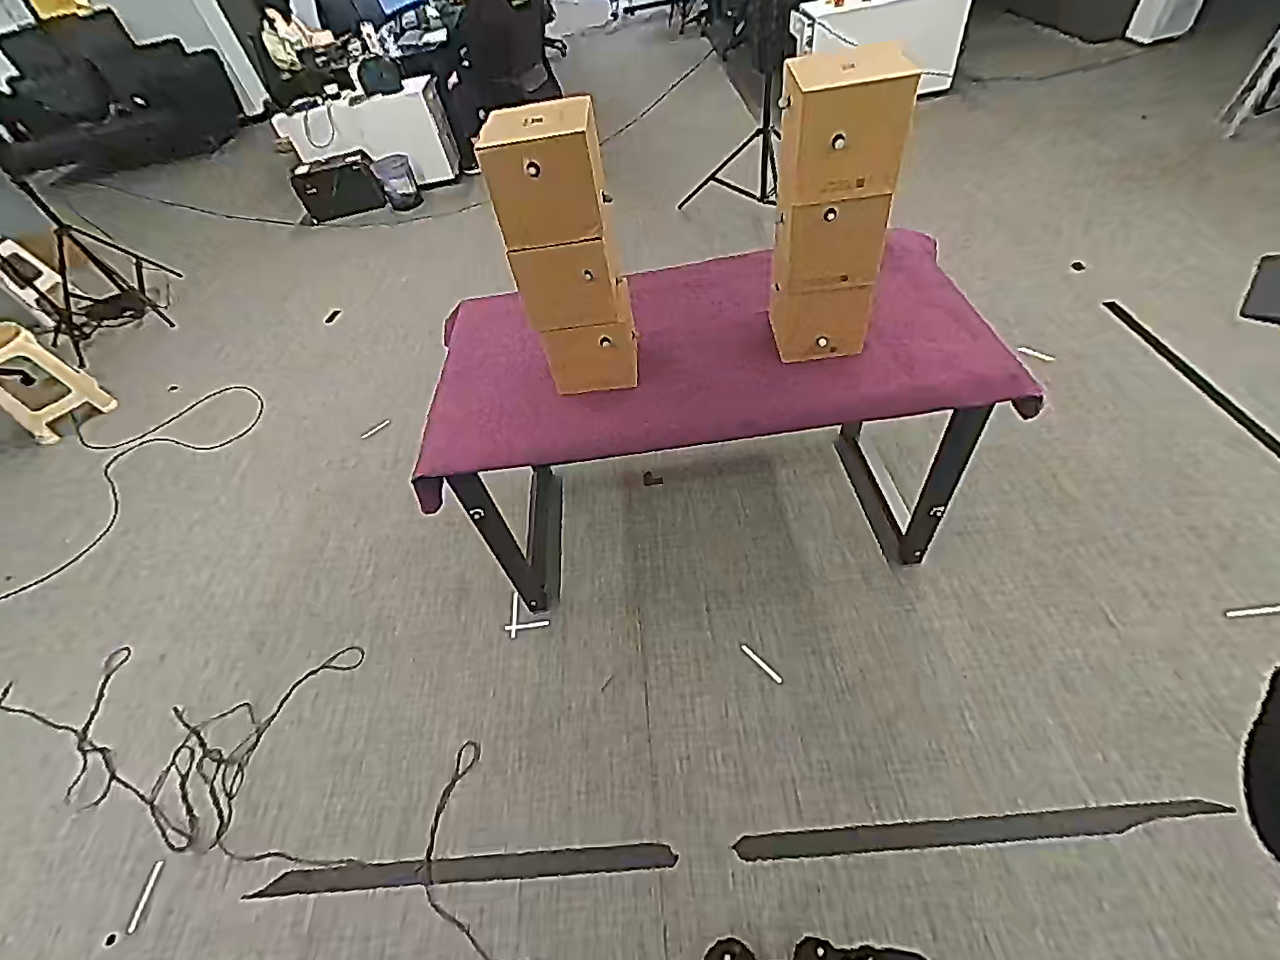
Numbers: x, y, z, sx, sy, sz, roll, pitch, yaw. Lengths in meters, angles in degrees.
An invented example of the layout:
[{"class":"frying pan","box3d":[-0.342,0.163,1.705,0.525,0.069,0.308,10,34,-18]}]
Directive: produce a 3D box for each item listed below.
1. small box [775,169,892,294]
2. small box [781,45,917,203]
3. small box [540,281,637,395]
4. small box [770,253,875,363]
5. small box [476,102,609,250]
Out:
[{"class":"small box","box3d":[0.348,-0.471,1.009,0.168,0.176,0.179,-5,49,8]},{"class":"small box","box3d":[0.326,-0.570,0.881,0.168,0.176,0.179,-5,49,7]},{"class":"small box","box3d":[-0.100,-0.303,1.168,0.179,0.176,0.168,-6,49,6]},{"class":"small box","box3d":[0.372,-0.370,1.136,0.168,0.176,0.179,-6,50,6]},{"class":"small box","box3d":[-0.156,-0.512,0.923,0.179,0.176,0.168,-6,51,4]}]
